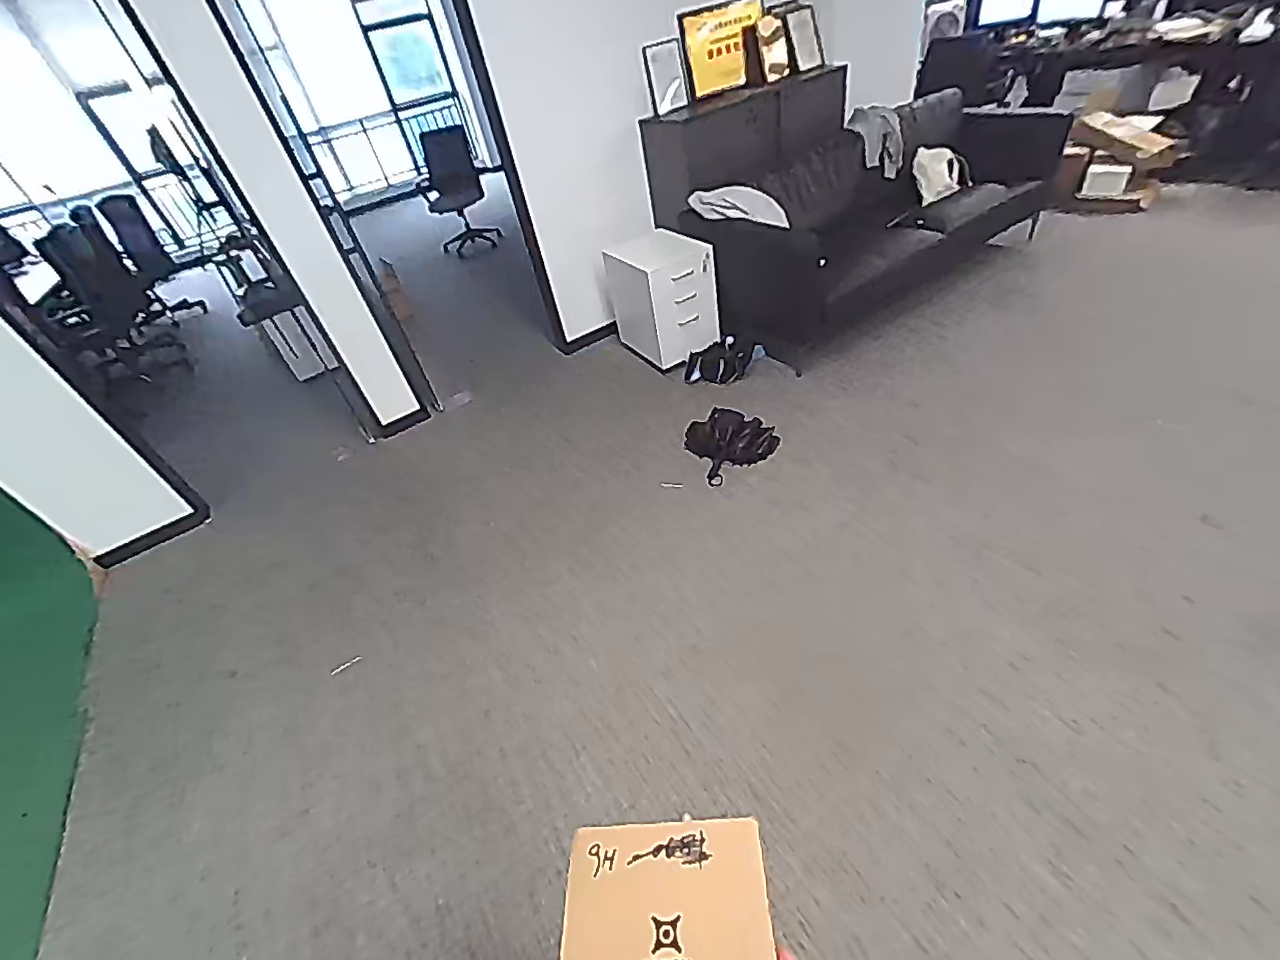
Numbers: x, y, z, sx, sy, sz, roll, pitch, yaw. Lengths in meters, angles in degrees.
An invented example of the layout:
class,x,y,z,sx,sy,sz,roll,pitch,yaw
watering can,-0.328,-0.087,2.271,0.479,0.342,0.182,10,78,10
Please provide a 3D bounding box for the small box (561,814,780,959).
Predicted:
class,x,y,z,sx,sy,sz,roll,pitch,yaw
small box,0.035,0.412,0.455,0.168,0.176,0.179,-7,38,6
